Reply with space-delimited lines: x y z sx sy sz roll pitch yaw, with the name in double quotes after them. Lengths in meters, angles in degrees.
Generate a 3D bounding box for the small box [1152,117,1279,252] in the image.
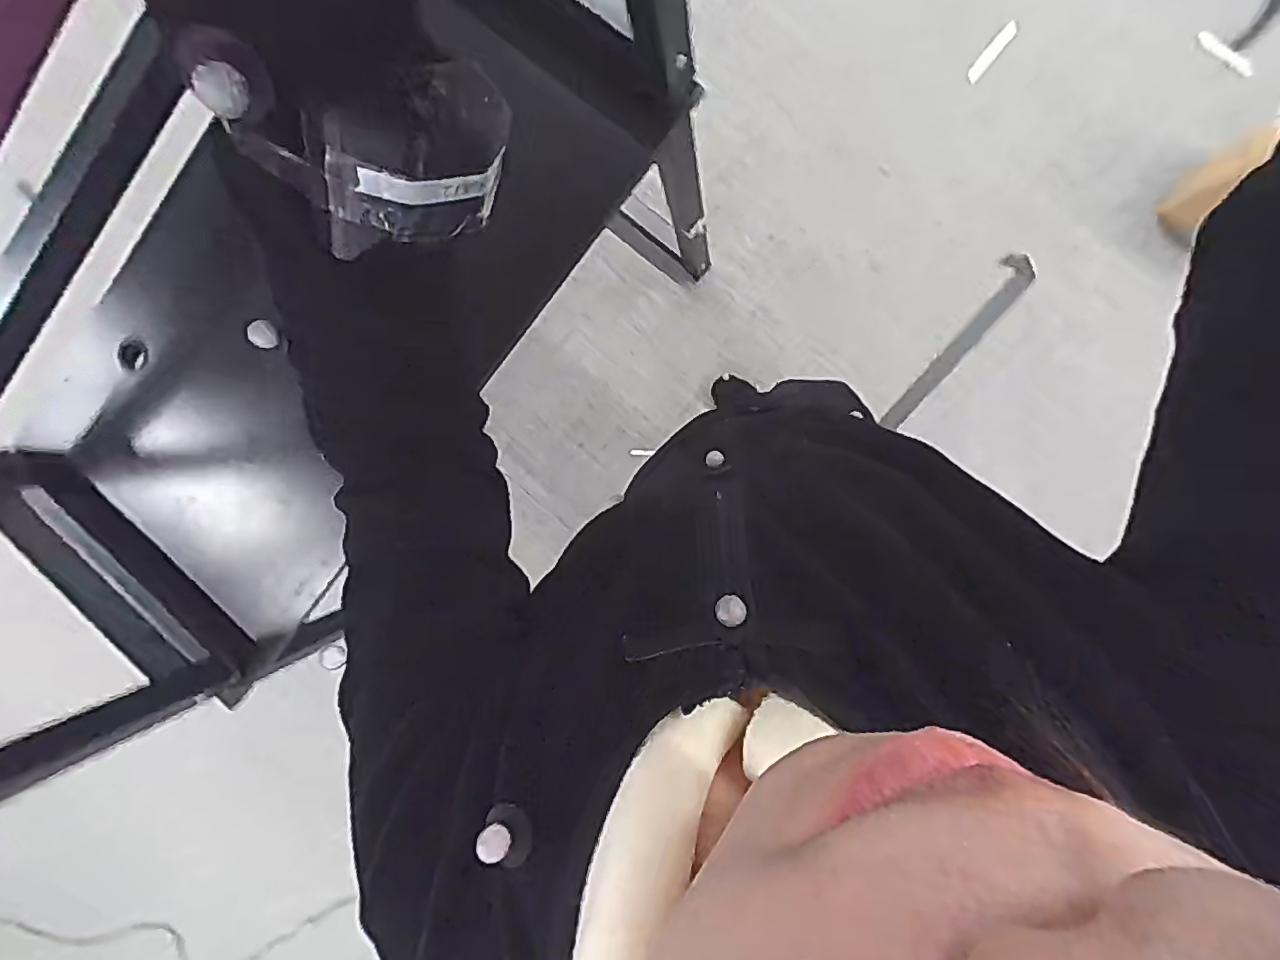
1.303 -0.627 1.177 0.179 0.176 0.168 42 98 3 "small box"
